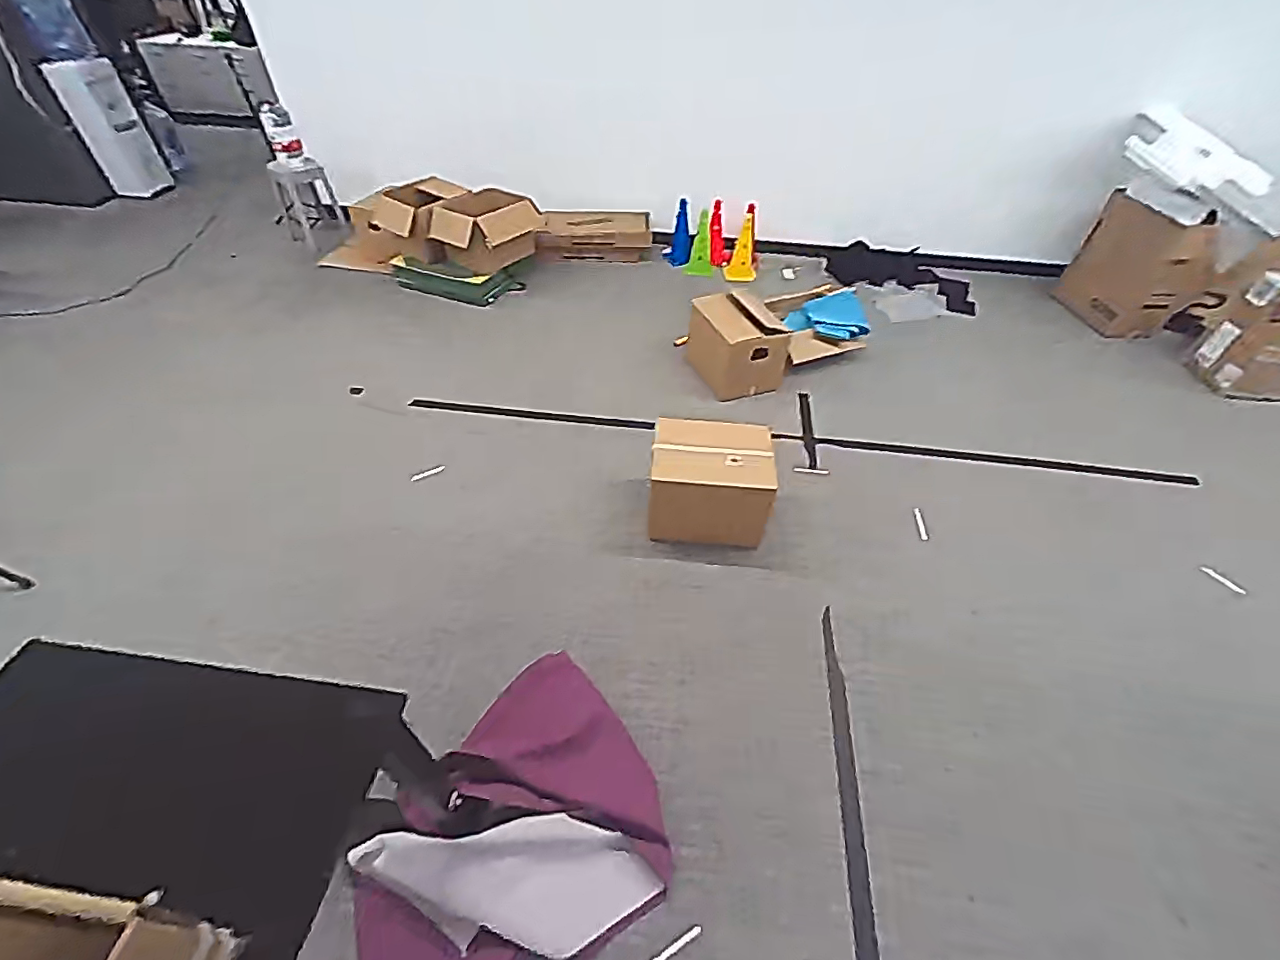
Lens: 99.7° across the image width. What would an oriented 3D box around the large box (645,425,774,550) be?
[{"bbox_3d":[0.228,0.029,1.922,0.408,0.320,0.320,4,46,1],"label":"large box"}]
